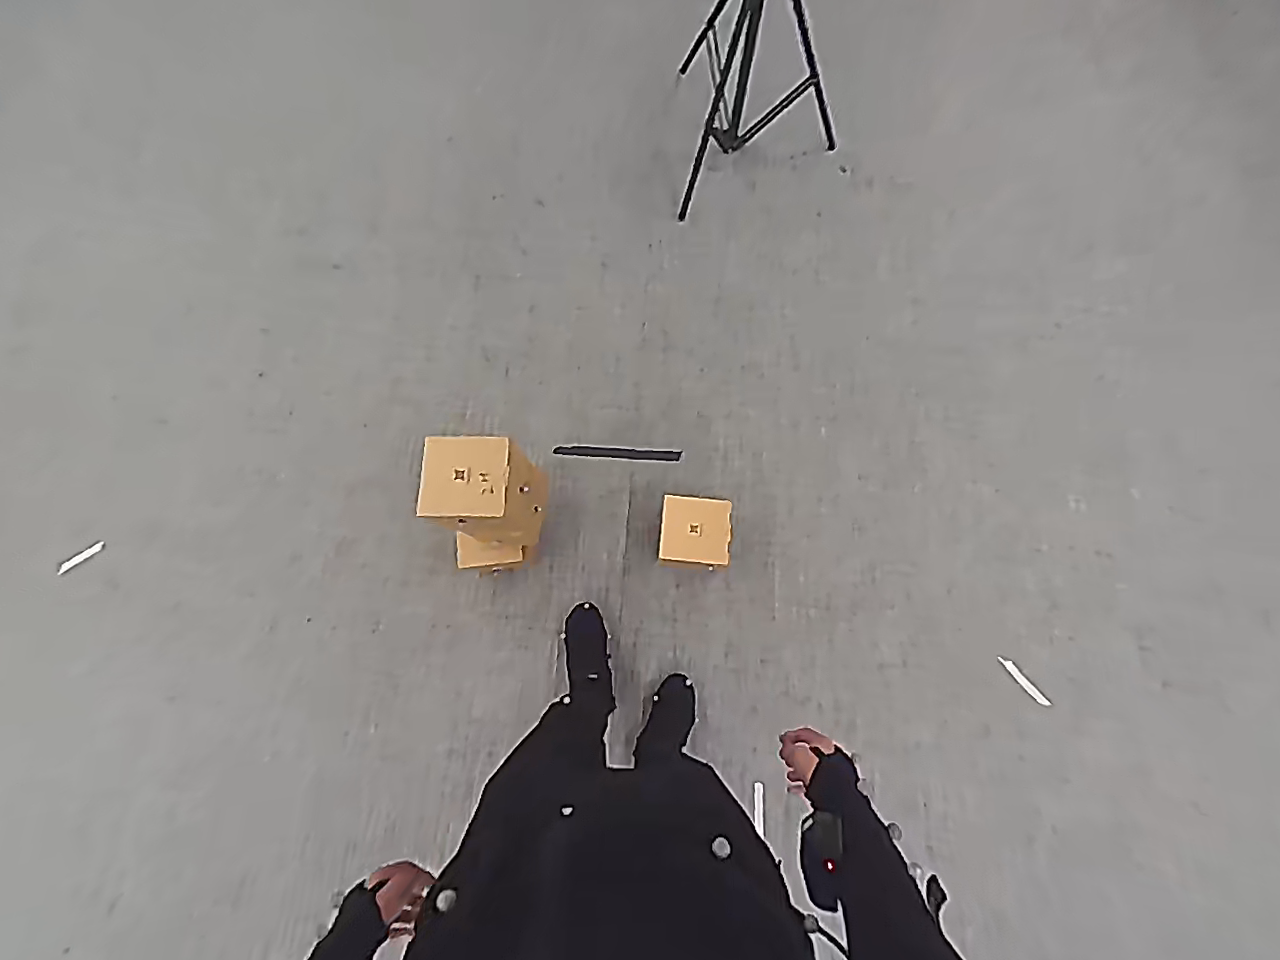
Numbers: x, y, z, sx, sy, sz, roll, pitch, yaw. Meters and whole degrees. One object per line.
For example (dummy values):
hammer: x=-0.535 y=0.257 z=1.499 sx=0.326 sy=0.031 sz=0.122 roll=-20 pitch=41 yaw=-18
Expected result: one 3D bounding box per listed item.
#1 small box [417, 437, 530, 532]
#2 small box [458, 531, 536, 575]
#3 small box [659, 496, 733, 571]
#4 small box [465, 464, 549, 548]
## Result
small box: x=-0.341 y=0.015 z=1.136 sx=0.179 sy=0.176 sz=0.168 roll=1 pitch=75 yaw=2
small box: x=-0.377 y=0.151 z=1.440 sx=0.168 sy=0.176 sz=0.179 roll=-7 pitch=76 yaw=0
small box: x=0.143 y=0.147 z=1.436 sx=0.179 sy=0.176 sz=0.168 roll=5 pitch=76 yaw=1
small box: x=-0.322 y=0.058 z=1.294 sx=0.168 sy=0.176 sz=0.179 roll=8 pitch=76 yaw=4
